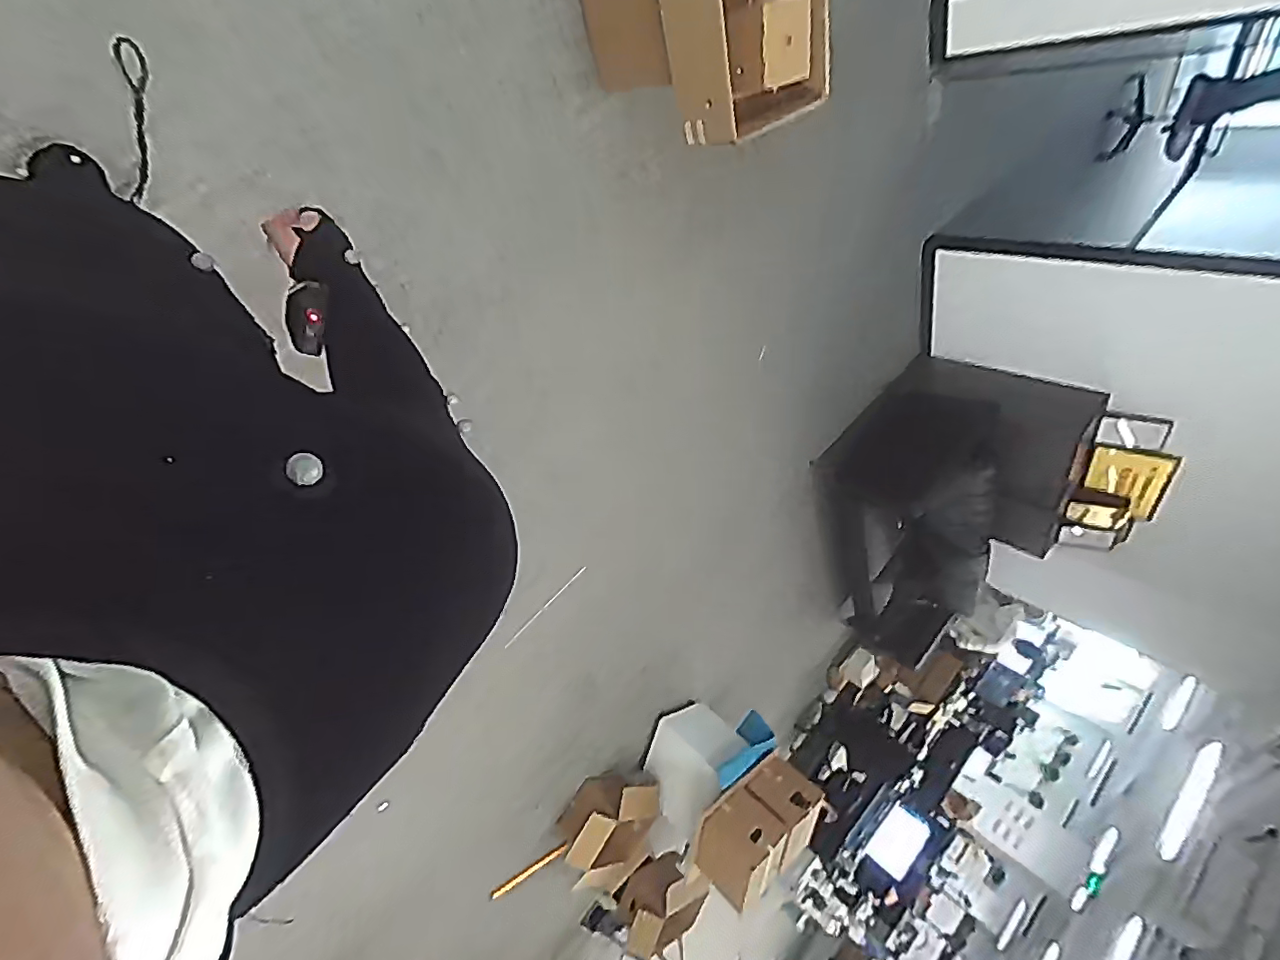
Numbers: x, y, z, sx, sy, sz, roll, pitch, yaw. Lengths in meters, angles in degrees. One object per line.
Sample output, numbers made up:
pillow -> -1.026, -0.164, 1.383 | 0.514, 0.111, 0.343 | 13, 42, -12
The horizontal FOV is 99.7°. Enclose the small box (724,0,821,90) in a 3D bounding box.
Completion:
small box -> 0.321, -1.081, 1.334 | 0.179, 0.176, 0.168 | -33, 133, -24
